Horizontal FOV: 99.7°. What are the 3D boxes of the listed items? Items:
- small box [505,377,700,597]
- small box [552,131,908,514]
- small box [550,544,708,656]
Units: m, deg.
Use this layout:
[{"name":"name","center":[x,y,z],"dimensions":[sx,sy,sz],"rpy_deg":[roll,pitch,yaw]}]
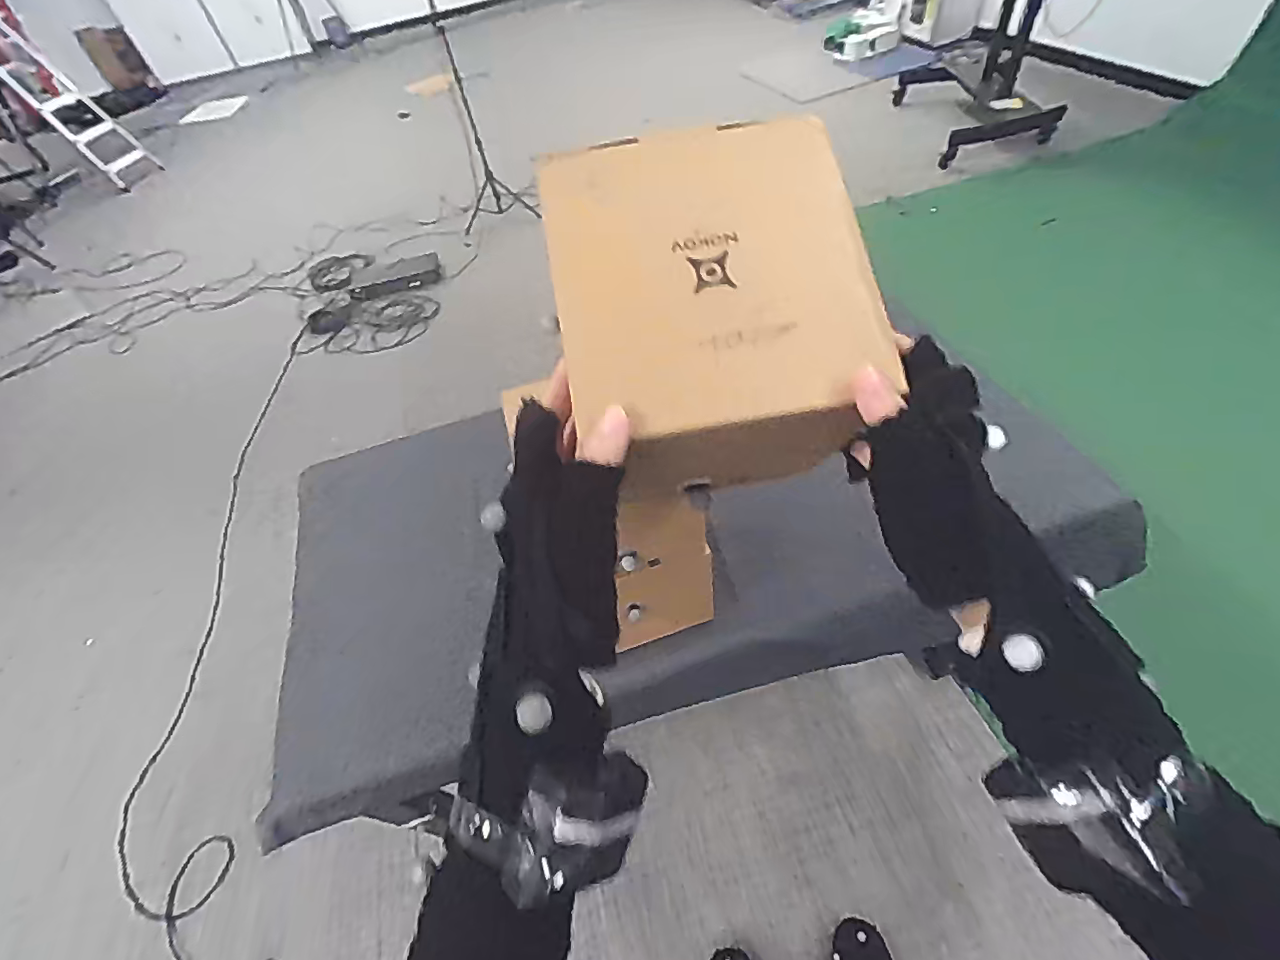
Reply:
[{"name":"small box","center":[-0.039,-0.002,0.598],"dimensions":[0.168,0.176,0.179],"rpy_deg":[-17,49,-6]},{"name":"small box","center":[0.040,-0.085,0.360],"dimensions":[0.168,0.176,0.179],"rpy_deg":[-8,77,-2]},{"name":"small box","center":[-0.019,0.108,0.719],"dimensions":[0.179,0.176,0.168],"rpy_deg":[-18,49,-6]}]
